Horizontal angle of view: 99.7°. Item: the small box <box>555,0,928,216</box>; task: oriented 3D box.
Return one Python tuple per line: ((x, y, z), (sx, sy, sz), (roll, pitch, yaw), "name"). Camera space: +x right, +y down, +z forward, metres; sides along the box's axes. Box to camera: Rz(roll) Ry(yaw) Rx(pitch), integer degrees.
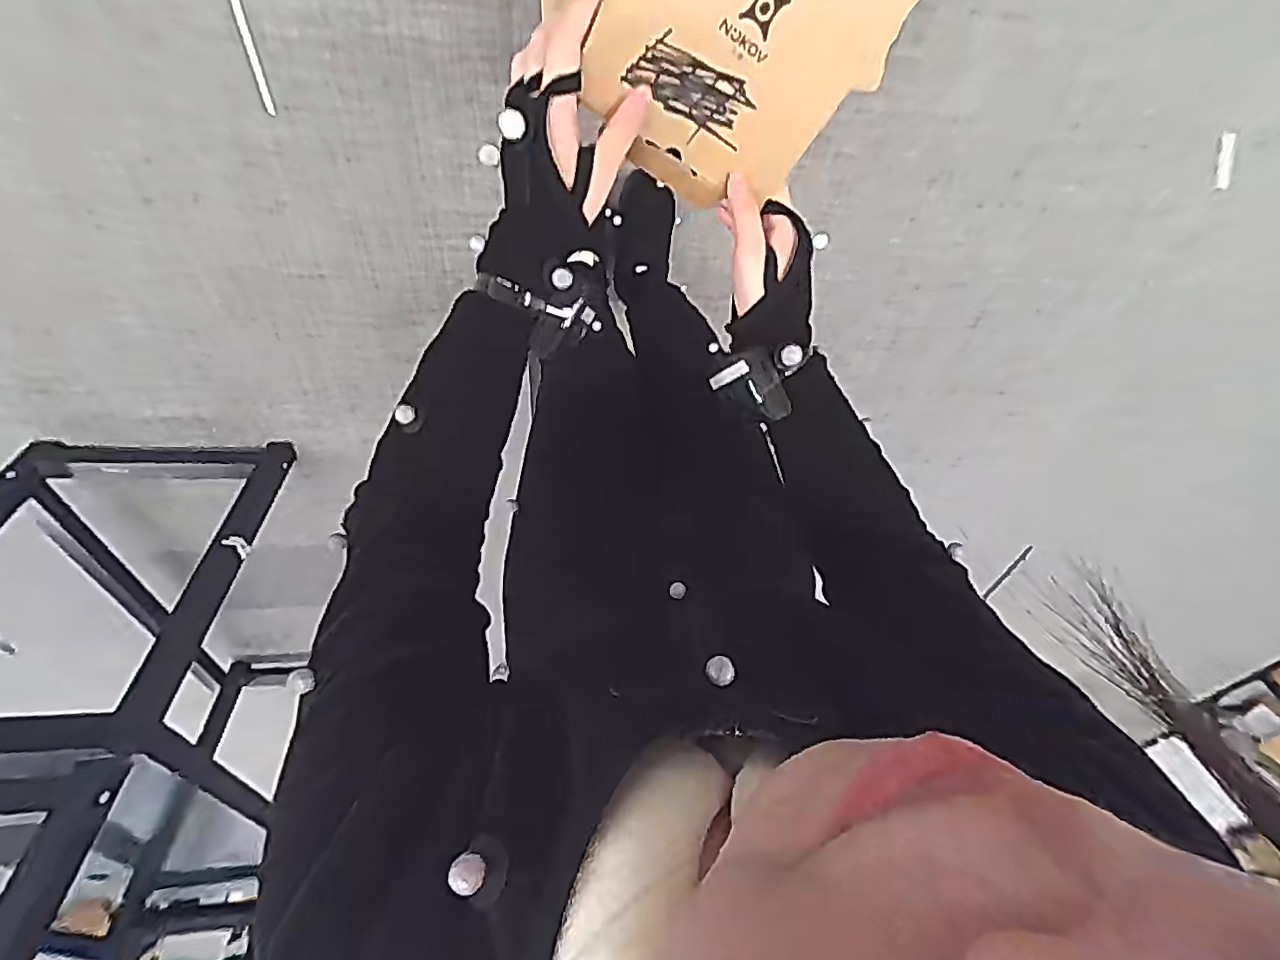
((0.053, -0.324, 0.354), (0.168, 0.176, 0.179), (14, 135, -31), "small box")
